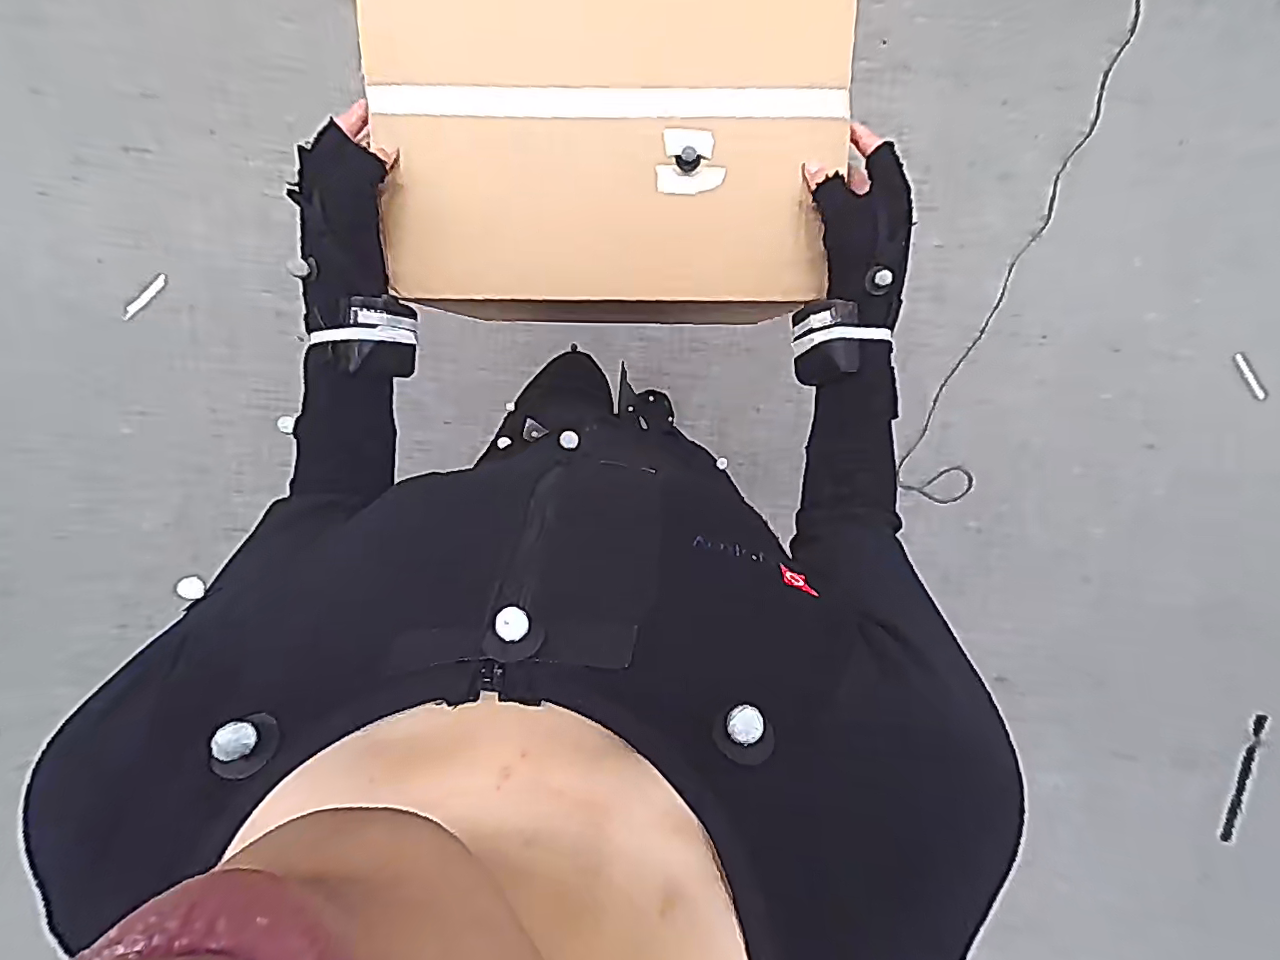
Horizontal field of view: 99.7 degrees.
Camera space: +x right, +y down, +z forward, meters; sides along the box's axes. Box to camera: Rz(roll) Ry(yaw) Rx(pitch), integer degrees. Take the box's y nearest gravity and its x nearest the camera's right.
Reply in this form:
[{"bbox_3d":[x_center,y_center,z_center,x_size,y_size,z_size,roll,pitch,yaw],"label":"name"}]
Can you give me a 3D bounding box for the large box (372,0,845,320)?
[{"bbox_3d":[-0.029,-0.357,0.613,0.408,0.320,0.320,0,102,-1],"label":"large box"}]
